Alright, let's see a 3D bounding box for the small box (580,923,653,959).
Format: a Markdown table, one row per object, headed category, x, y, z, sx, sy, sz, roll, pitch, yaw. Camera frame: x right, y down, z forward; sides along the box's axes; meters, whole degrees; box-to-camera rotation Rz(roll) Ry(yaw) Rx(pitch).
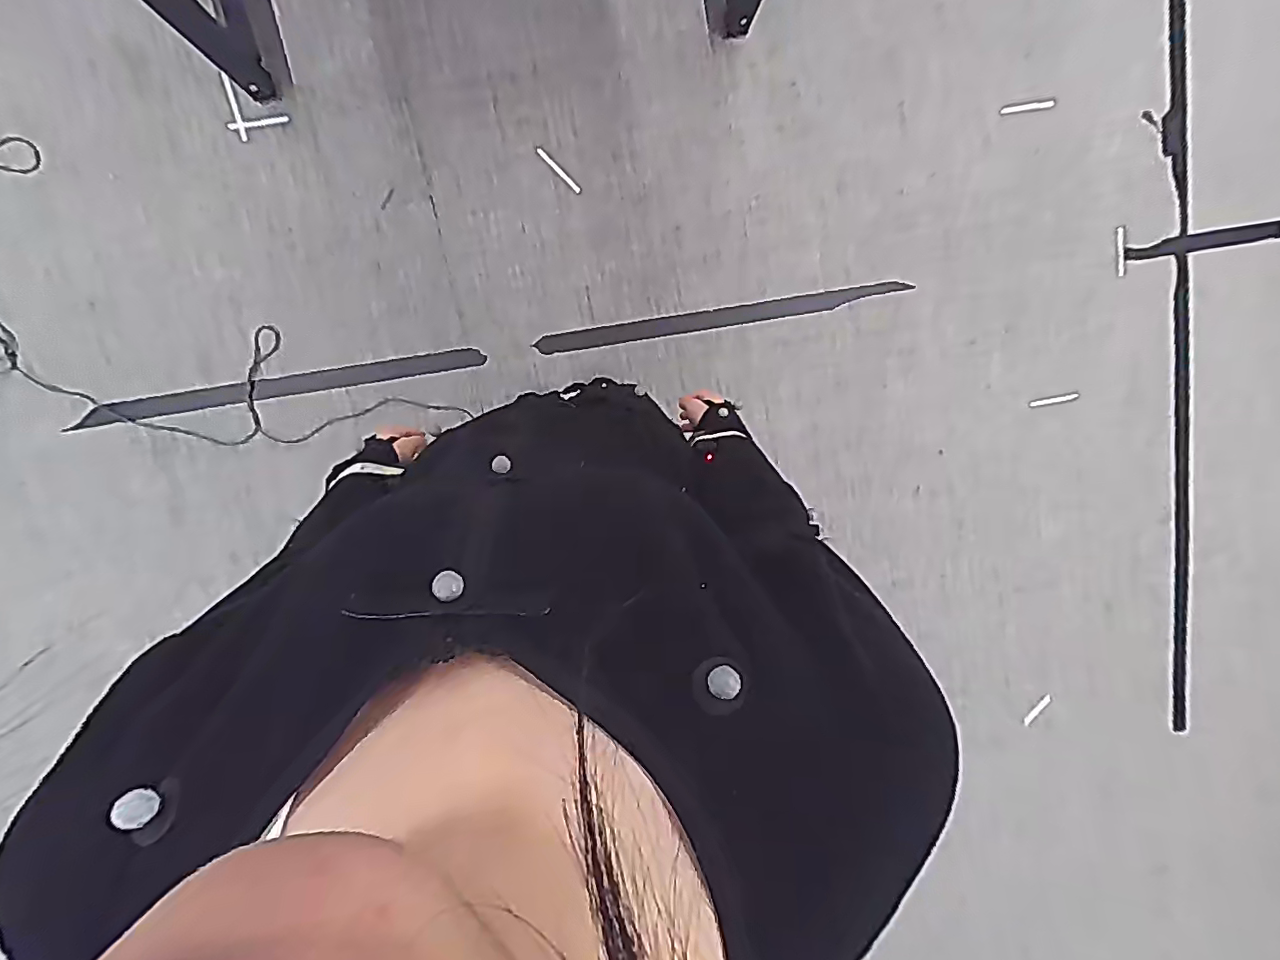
| category | x | y | z | sx | sy | sz | roll | pitch | yaw |
| --- | --- | --- | --- | --- | --- | --- | --- | --- | --- |
| small box | -0.049 | 1.239 | 1.324 | 0.179 | 0.176 | 0.168 | -11 | 99 | -4 |
